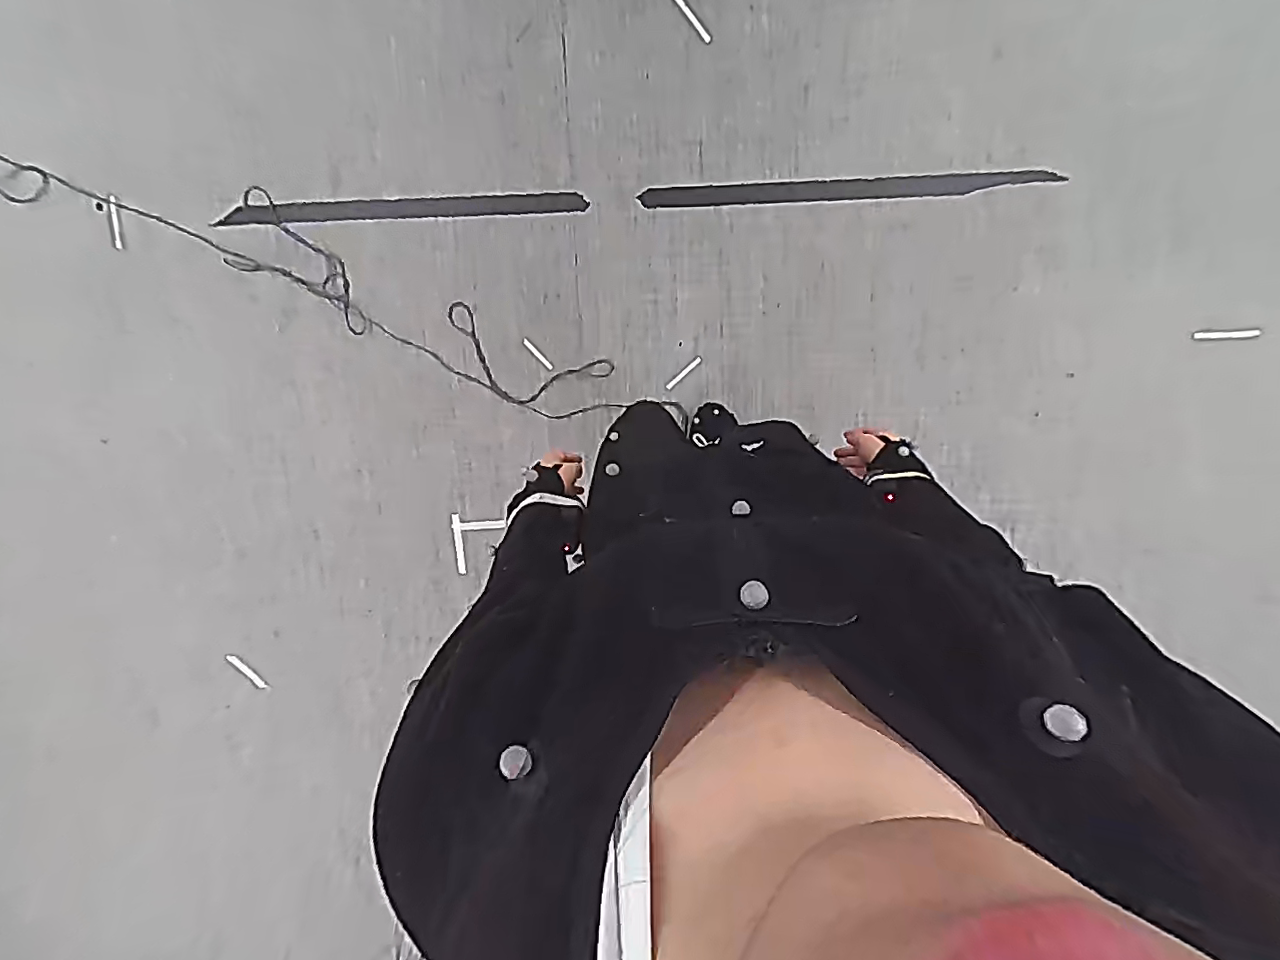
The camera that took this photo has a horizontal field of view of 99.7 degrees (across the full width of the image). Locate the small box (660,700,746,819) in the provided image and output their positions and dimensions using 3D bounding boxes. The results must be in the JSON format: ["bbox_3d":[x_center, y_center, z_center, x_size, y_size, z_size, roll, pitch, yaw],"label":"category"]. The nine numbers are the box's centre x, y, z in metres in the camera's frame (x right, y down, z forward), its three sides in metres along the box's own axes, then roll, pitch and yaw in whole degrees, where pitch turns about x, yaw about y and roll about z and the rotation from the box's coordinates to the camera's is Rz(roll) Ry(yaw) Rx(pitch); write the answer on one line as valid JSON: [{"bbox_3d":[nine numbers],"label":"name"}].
[{"bbox_3d":[0.149,0.670,1.309,0.168,0.176,0.179,-15,97,3],"label":"small box"}]

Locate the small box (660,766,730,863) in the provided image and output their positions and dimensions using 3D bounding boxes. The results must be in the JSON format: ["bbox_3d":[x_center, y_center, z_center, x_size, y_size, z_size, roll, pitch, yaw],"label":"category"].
[{"bbox_3d":[0.152,0.920,1.511,0.168,0.176,0.179,-11,97,4],"label":"small box"}]
